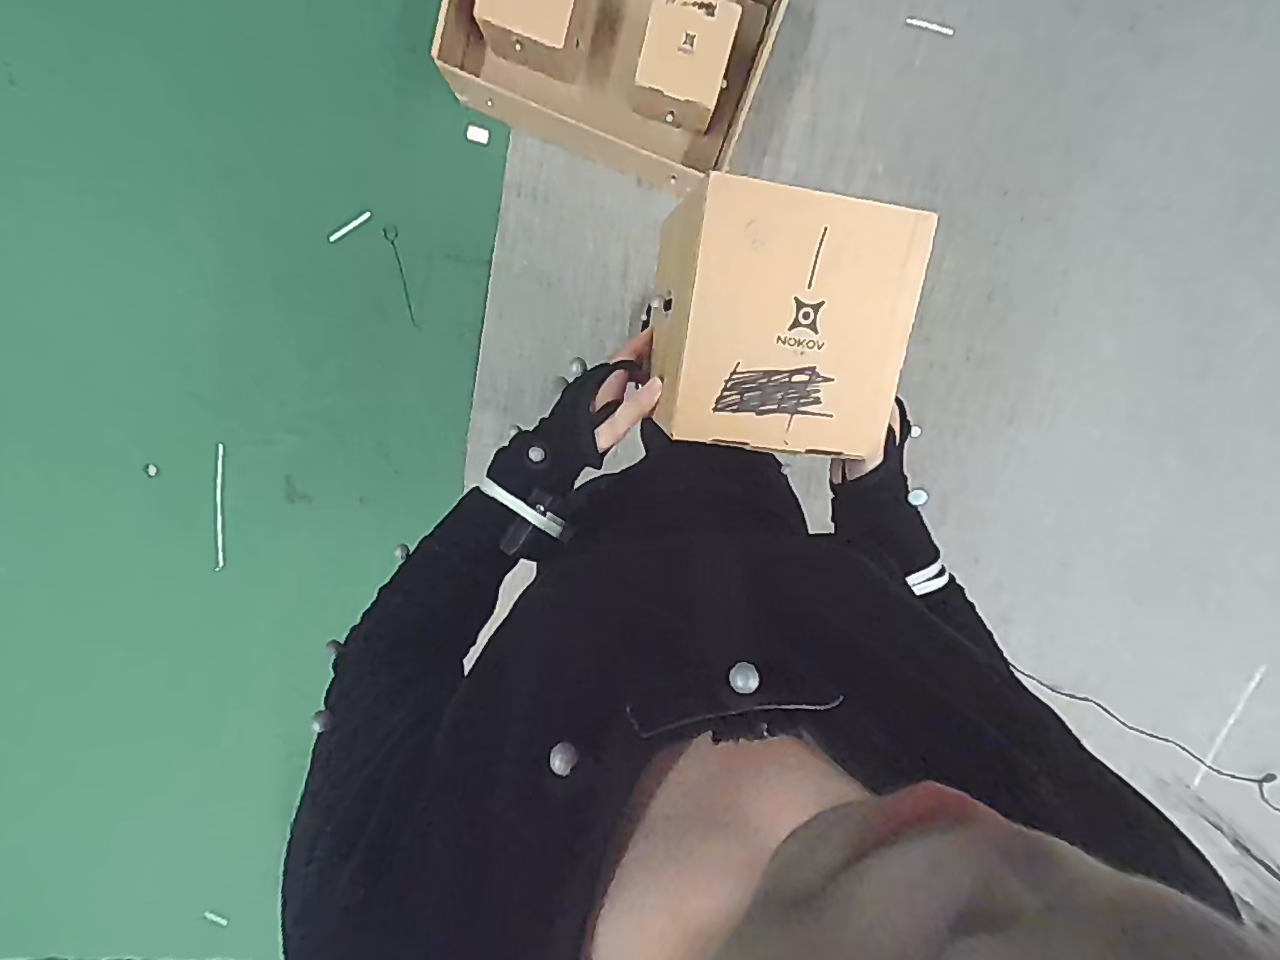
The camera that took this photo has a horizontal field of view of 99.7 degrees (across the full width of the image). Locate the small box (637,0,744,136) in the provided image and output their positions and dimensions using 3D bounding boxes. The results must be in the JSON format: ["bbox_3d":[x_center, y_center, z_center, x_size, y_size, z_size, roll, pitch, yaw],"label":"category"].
[{"bbox_3d":[0.097,-0.838,1.104,0.168,0.176,0.179,15,107,-4],"label":"small box"}]

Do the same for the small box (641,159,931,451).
[{"bbox_3d":[0.098,-0.133,0.451,0.168,0.176,0.179,5,104,-9],"label":"small box"}]
